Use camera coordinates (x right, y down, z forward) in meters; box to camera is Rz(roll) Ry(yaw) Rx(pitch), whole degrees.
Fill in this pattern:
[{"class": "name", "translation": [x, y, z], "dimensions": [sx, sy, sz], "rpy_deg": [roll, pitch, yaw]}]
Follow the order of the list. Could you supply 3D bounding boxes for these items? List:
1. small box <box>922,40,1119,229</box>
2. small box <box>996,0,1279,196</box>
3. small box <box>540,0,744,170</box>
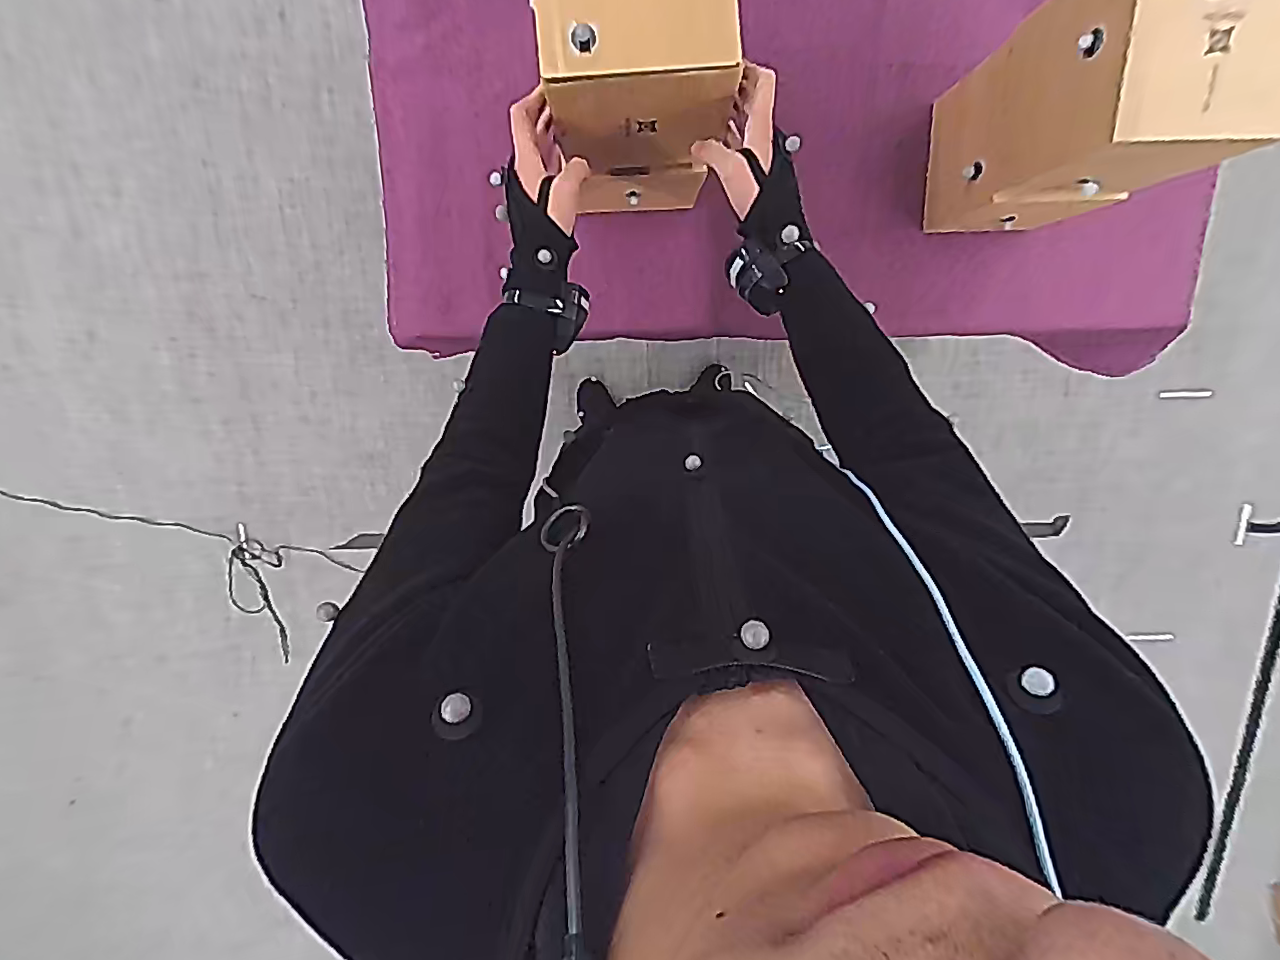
[{"class": "small box", "translation": [0.502, -0.442, 0.720], "dimensions": [0.168, 0.176, 0.179], "rpy_deg": [-1, 103, -1]}, {"class": "small box", "translation": [0.506, -0.413, 0.558], "dimensions": [0.168, 0.176, 0.179], "rpy_deg": [-1, 104, 0]}, {"class": "small box", "translation": [-0.003, -0.435, 0.533], "dimensions": [0.179, 0.168, 0.176], "rpy_deg": [-4, 96, 0]}]
